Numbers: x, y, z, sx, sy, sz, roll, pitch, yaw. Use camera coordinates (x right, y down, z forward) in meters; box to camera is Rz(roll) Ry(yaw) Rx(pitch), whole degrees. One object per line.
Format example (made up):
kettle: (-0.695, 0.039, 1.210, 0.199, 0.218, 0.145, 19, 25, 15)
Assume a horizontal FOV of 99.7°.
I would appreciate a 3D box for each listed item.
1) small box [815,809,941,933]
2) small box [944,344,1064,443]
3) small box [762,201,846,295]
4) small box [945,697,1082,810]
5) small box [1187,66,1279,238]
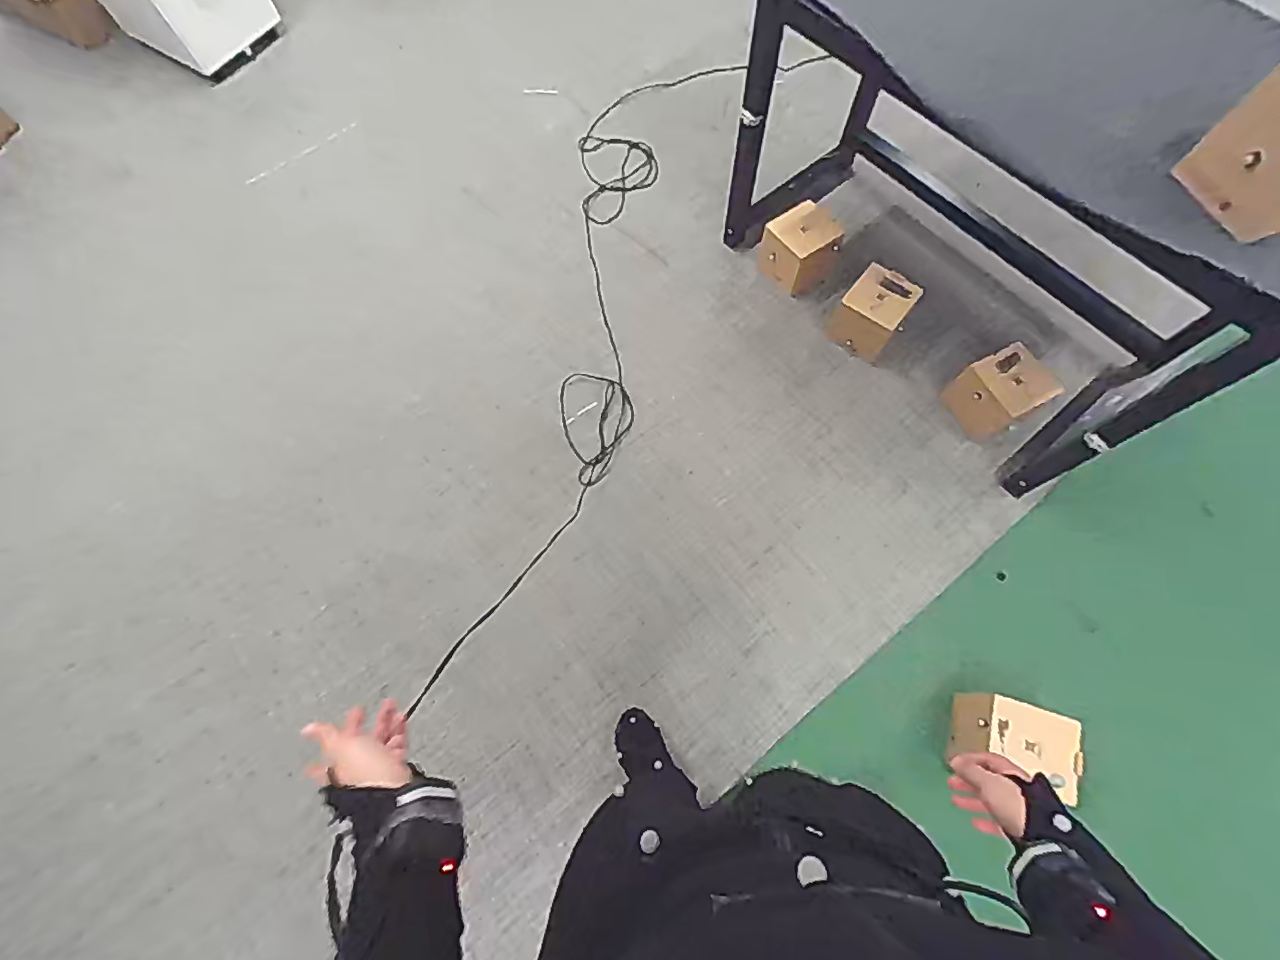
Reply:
small box: (0.469, 0.785, 1.101, 0.179, 0.176, 0.168, -4, 70, -1)
small box: (0.975, -0.230, 1.468, 0.168, 0.176, 0.179, -25, 72, -7)
small box: (0.497, -0.709, 1.670, 0.179, 0.176, 0.168, -33, 71, -11)
small box: (0.800, 0.578, 1.169, 0.179, 0.176, 0.168, 18, 71, 8)
small box: (0.965, -0.481, 0.781, 0.179, 0.176, 0.168, -17, 70, -7)
